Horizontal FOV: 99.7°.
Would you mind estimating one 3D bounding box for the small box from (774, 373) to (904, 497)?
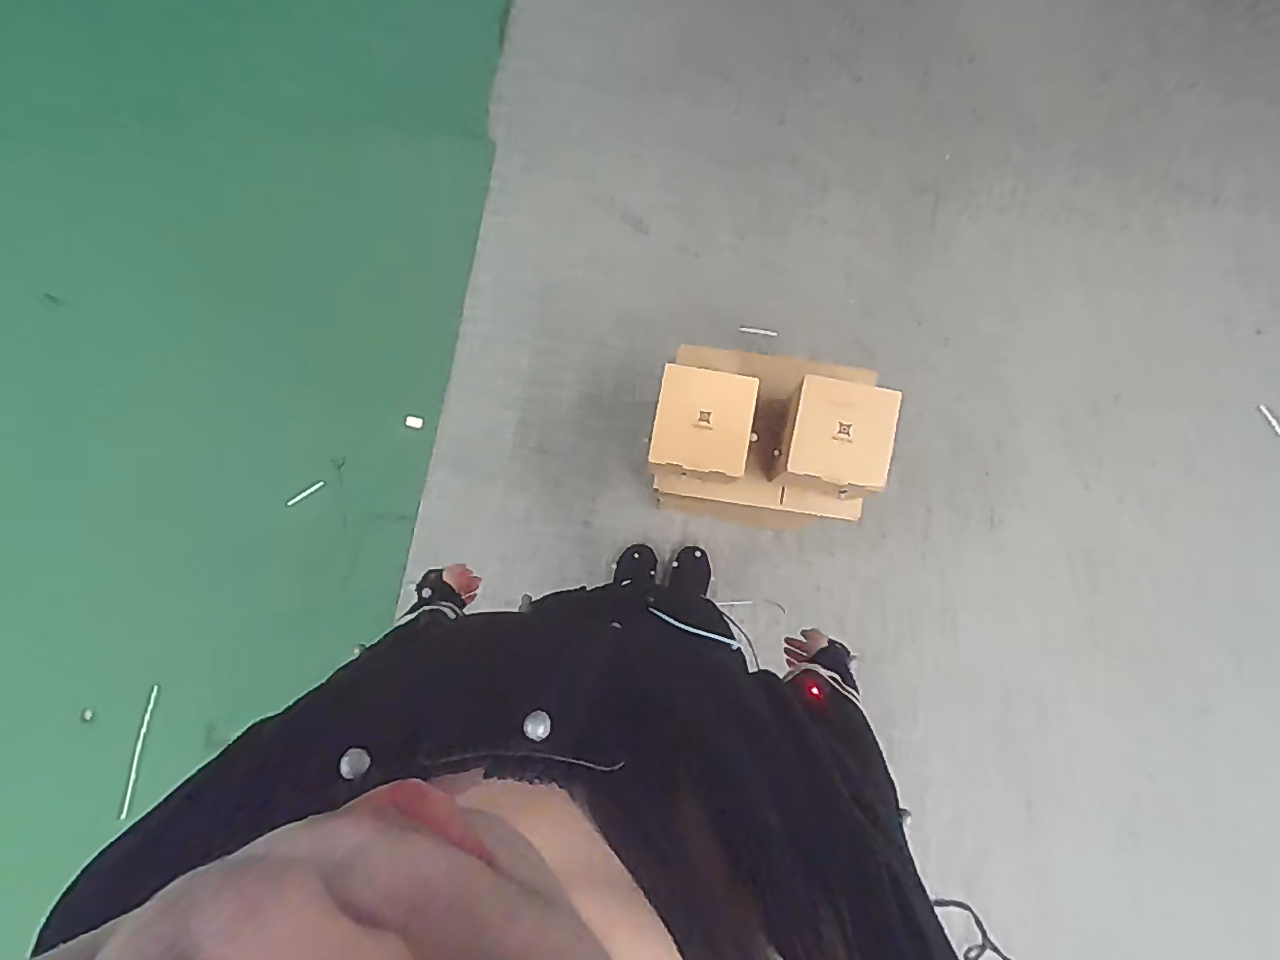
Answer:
[{"bbox_3d":[0.349,-0.072,0.980,0.168,0.176,0.179,13,83,5],"label":"small box"}]

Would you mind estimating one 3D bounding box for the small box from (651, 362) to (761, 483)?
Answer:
[{"bbox_3d":[0.114,-0.097,0.996,0.168,0.176,0.179,10,86,2],"label":"small box"}]
